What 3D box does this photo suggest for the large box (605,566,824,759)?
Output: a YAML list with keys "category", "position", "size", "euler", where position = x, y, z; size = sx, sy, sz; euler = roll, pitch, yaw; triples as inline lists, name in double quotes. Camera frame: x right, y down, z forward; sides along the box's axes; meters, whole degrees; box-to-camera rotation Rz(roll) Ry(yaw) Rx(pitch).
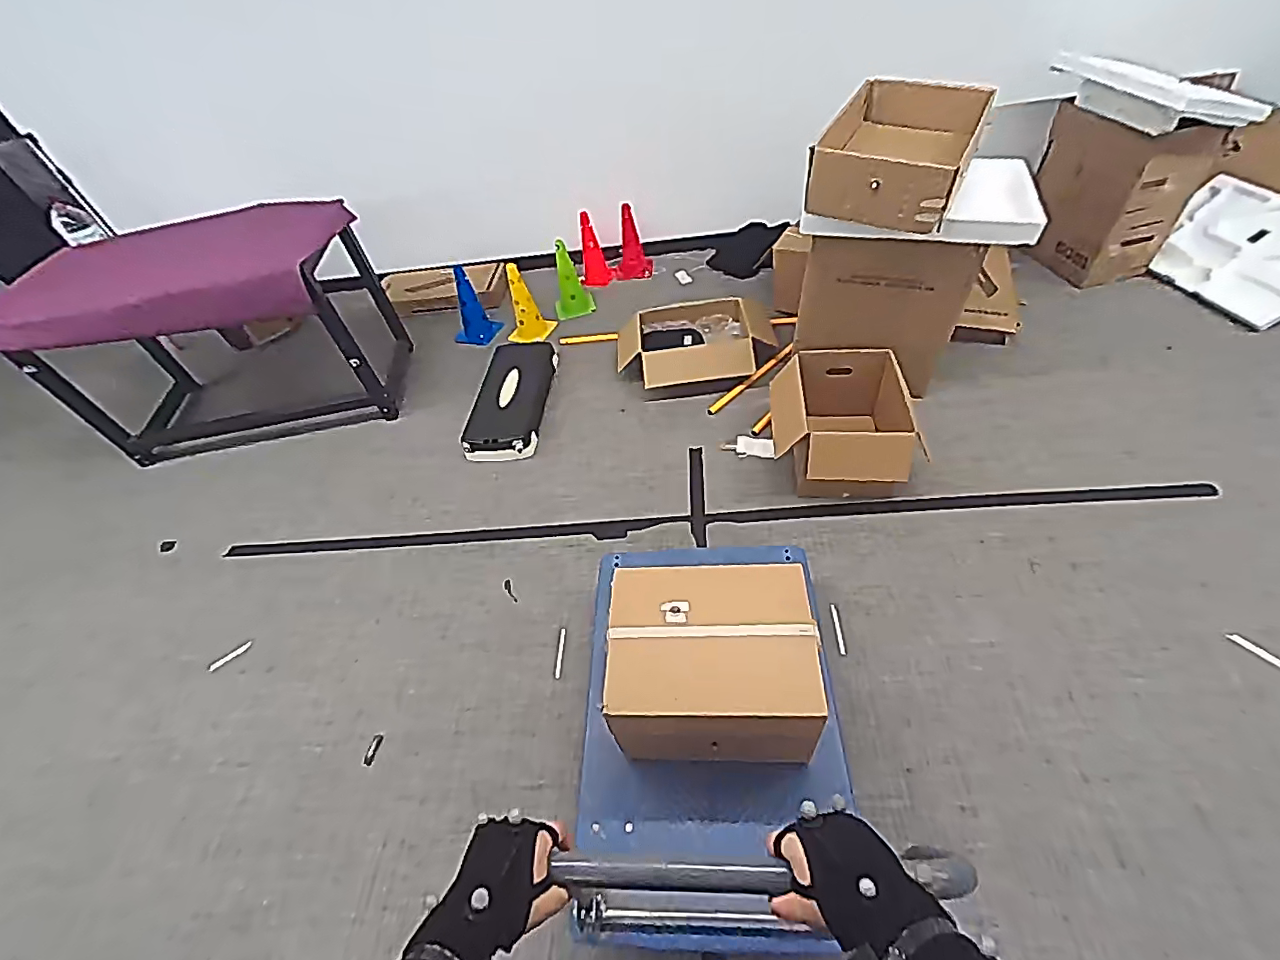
- category: "large box"
  position: [0.156, 0.410, 1.189]
  size: [0.408, 0.320, 0.320]
  euler: [-4, 48, 7]
